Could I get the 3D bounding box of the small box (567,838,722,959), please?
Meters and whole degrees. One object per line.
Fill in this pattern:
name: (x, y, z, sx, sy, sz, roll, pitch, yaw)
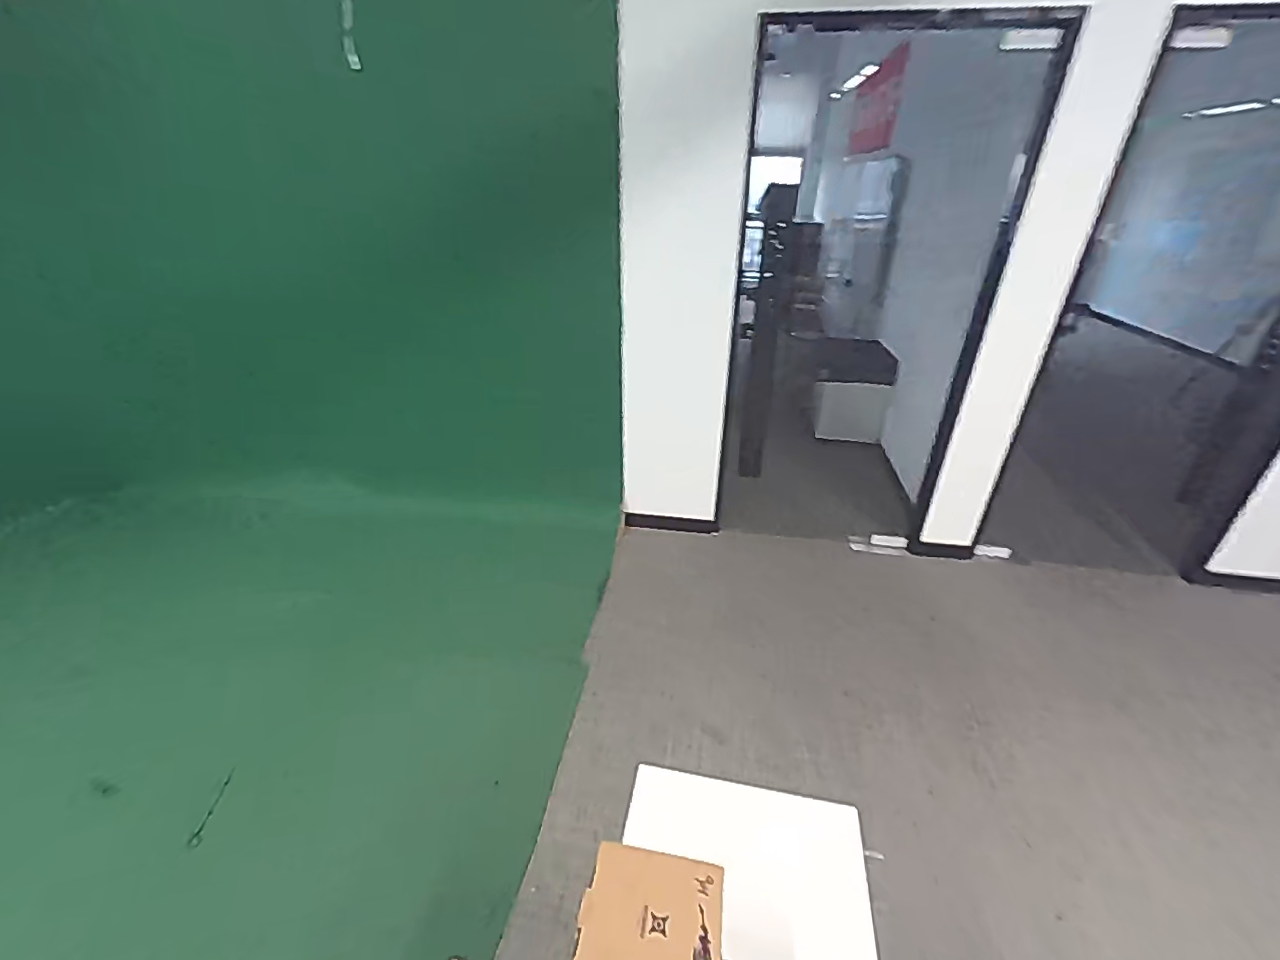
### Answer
small box: (0.009, 0.620, 0.716, 0.179, 0.176, 0.168, 7, 30, 9)
